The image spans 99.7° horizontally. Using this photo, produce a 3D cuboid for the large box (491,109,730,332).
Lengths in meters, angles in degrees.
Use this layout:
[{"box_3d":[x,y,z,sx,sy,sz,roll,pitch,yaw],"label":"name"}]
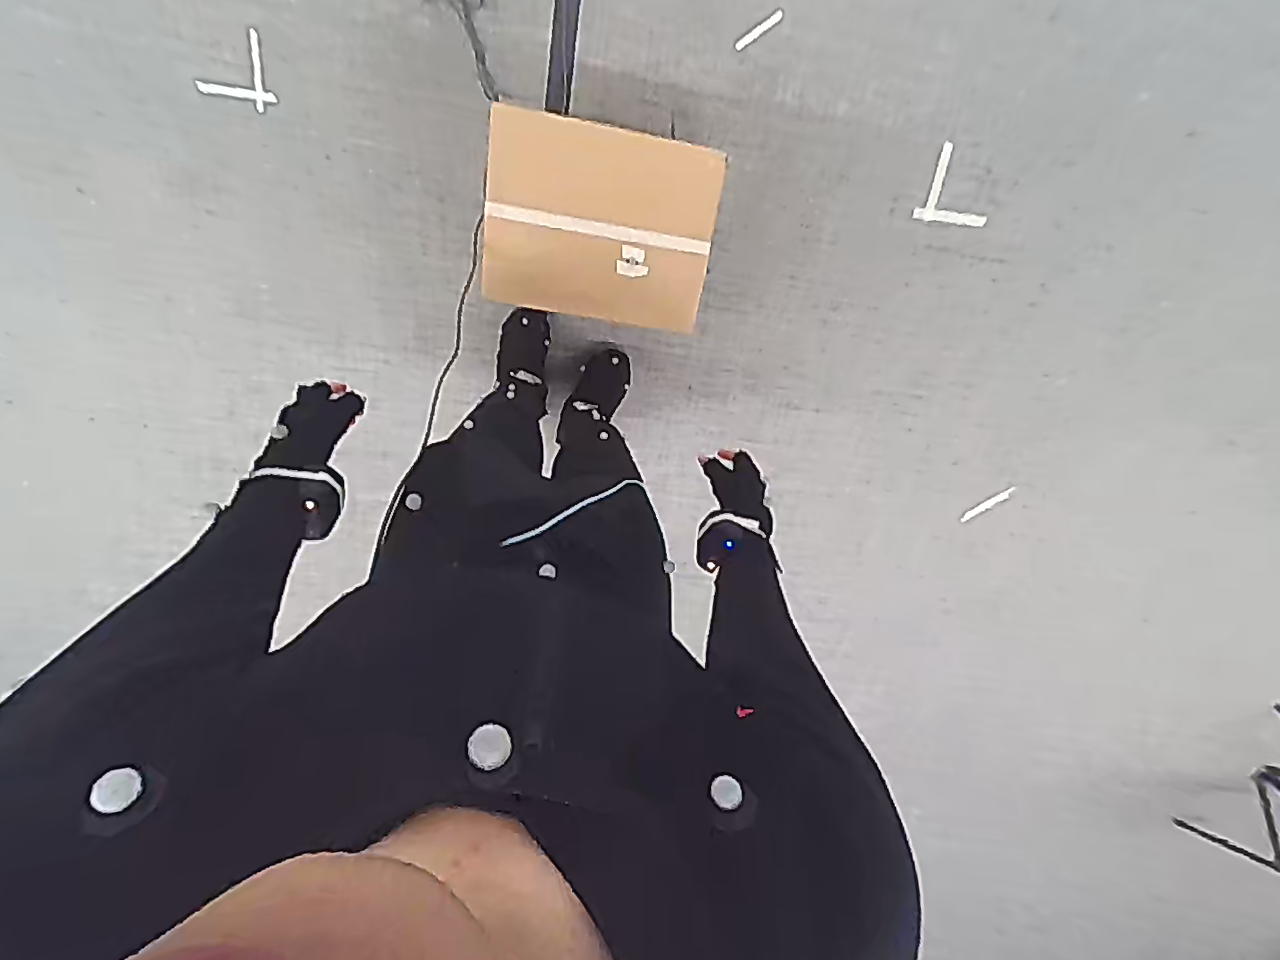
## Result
[{"box_3d":[-0.073,-0.510,1.112,0.408,0.320,0.320,8,113,-8],"label":"large box"}]
